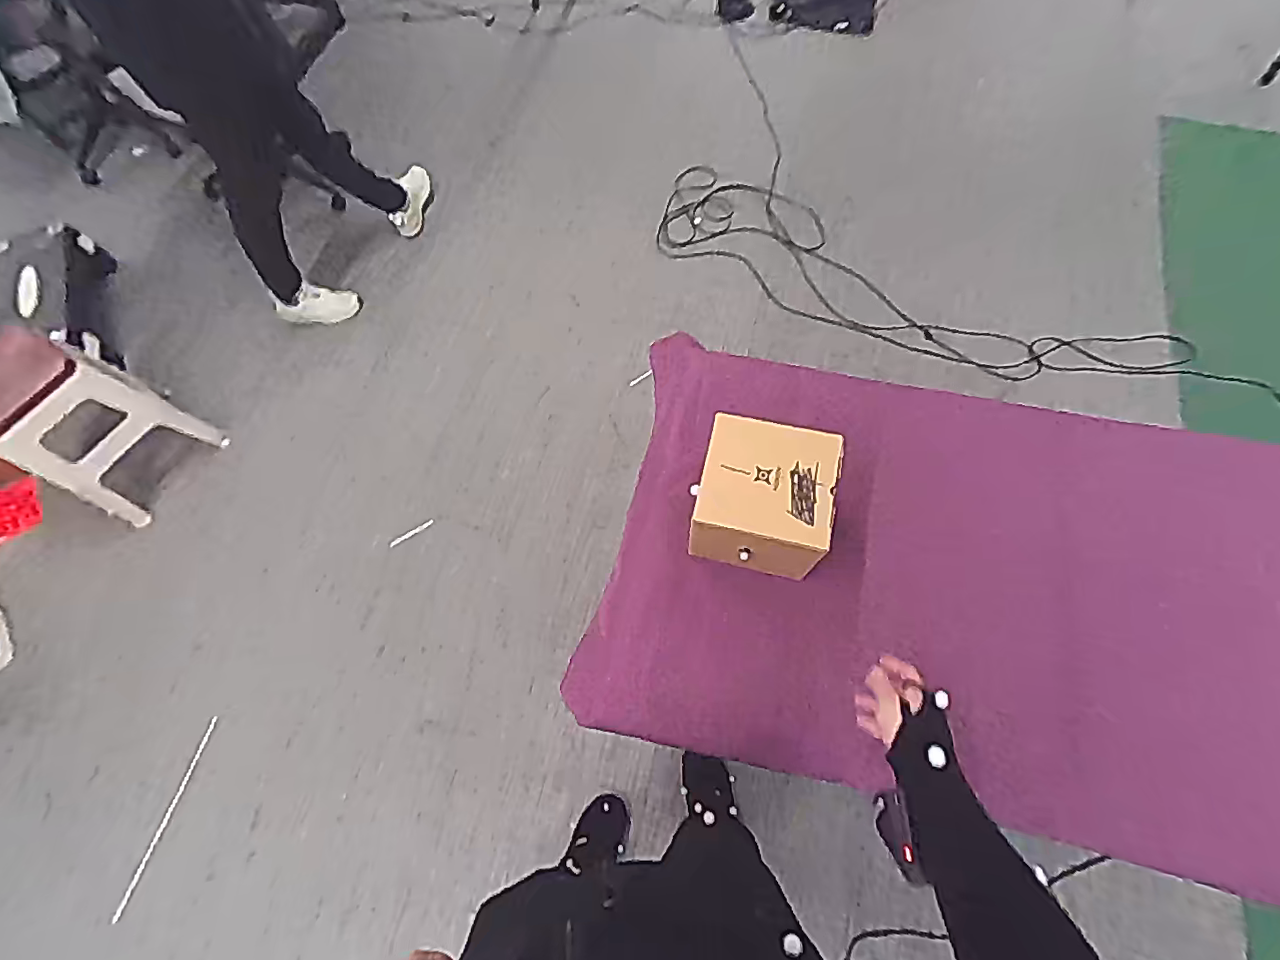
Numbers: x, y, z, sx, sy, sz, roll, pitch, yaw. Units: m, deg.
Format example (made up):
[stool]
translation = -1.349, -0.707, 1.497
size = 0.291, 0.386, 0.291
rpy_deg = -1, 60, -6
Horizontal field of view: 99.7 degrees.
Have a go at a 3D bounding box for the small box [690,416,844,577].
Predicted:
[small box]
translation = 0.175, 0.032, 0.780
size = 0.179, 0.176, 0.168
rpy_deg = 12, 68, 10
